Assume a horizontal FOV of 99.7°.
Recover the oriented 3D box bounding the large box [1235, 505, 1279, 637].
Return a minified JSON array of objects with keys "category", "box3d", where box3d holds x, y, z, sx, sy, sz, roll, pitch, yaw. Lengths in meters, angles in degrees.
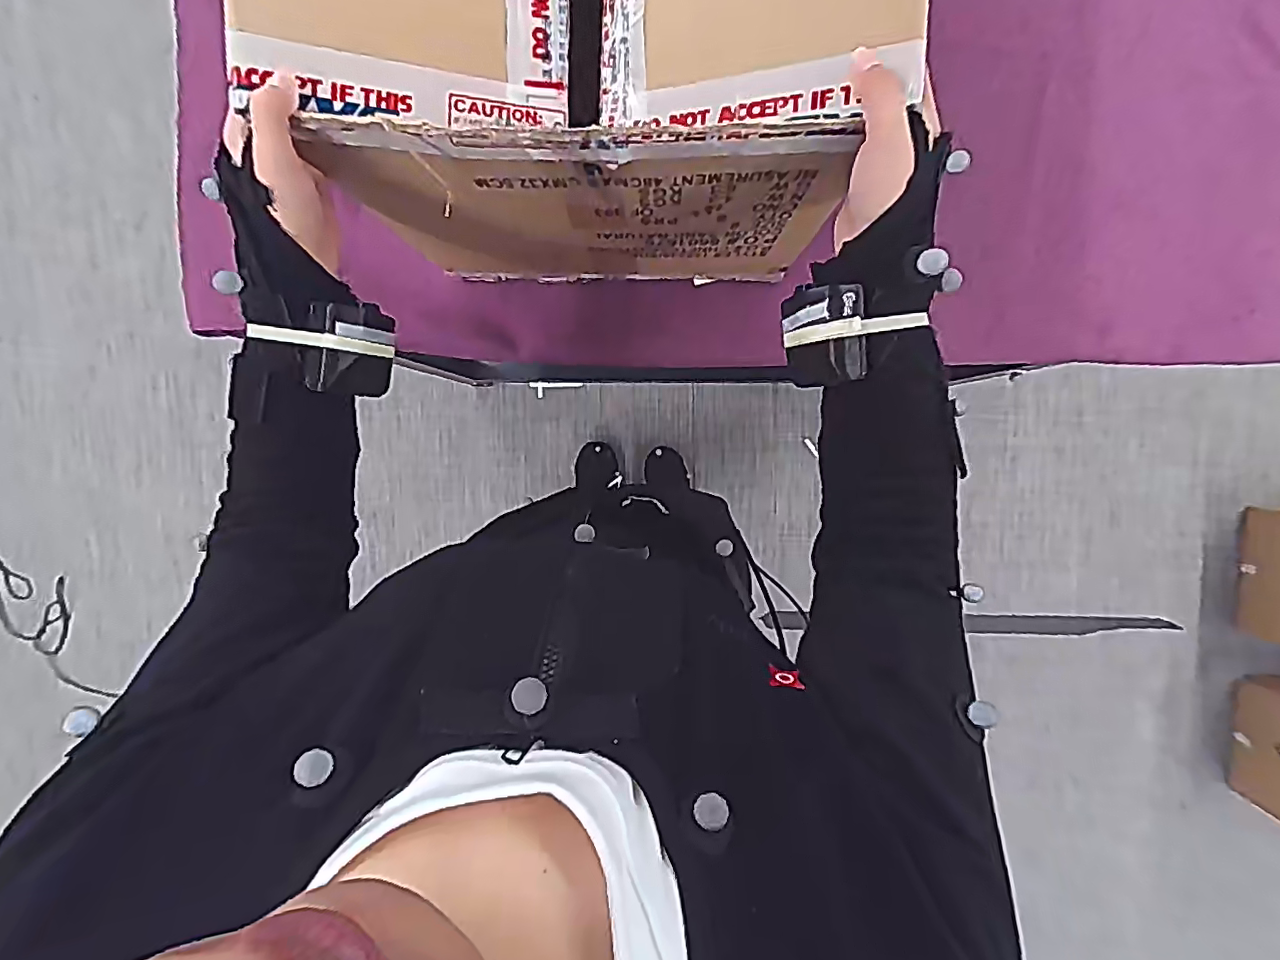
[{"category":"large box","box3d":[1.686,0.220,1.193,0.408,0.320,0.320,-1,94,3]}]
